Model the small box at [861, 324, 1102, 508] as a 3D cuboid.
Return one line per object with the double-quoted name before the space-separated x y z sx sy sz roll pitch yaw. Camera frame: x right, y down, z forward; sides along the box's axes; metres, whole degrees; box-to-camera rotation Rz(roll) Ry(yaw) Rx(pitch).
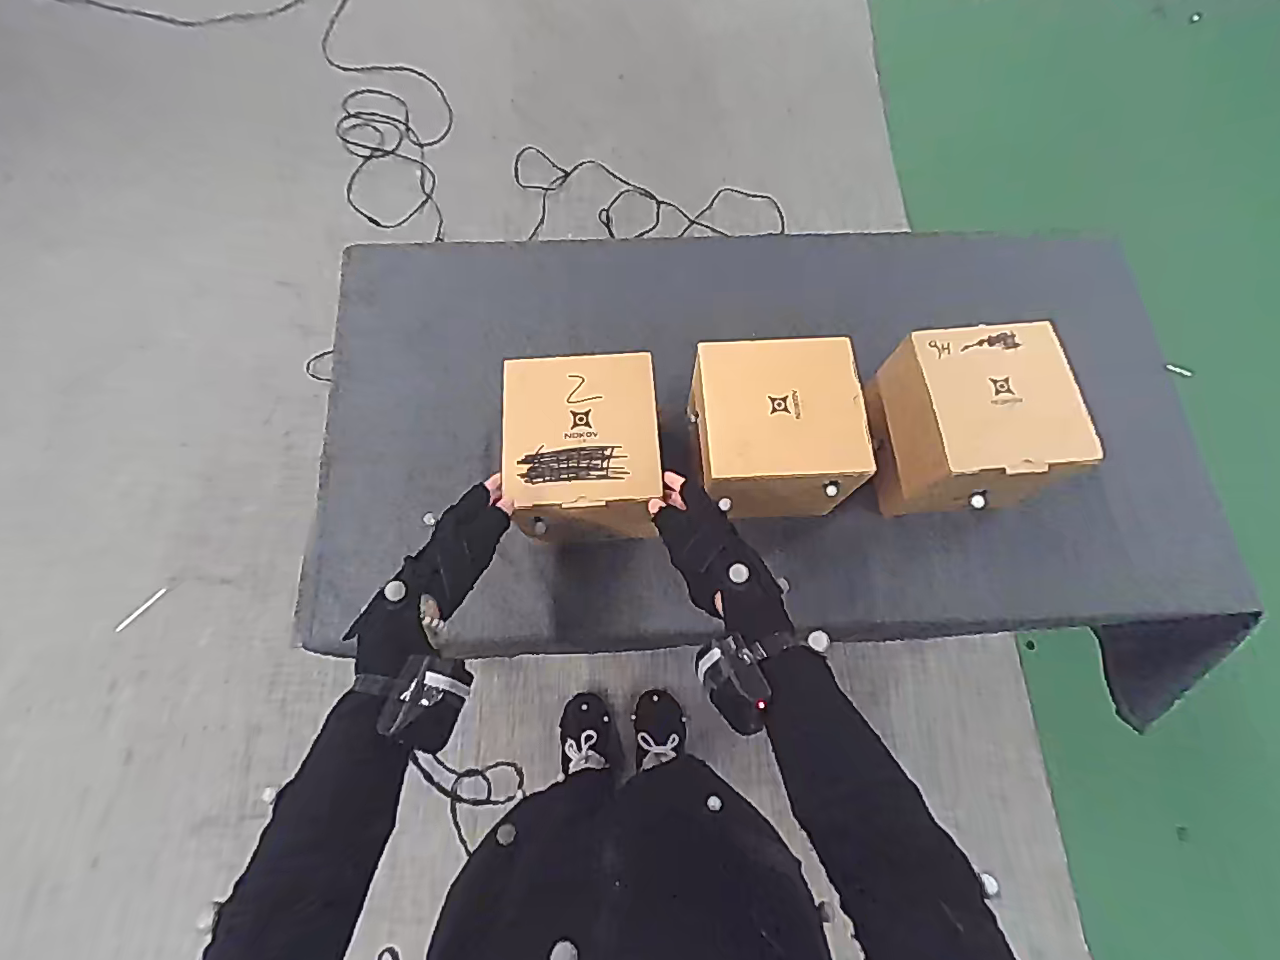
"small box" 0.396 -0.067 0.663 0.168 0.176 0.179 -3 72 -3
